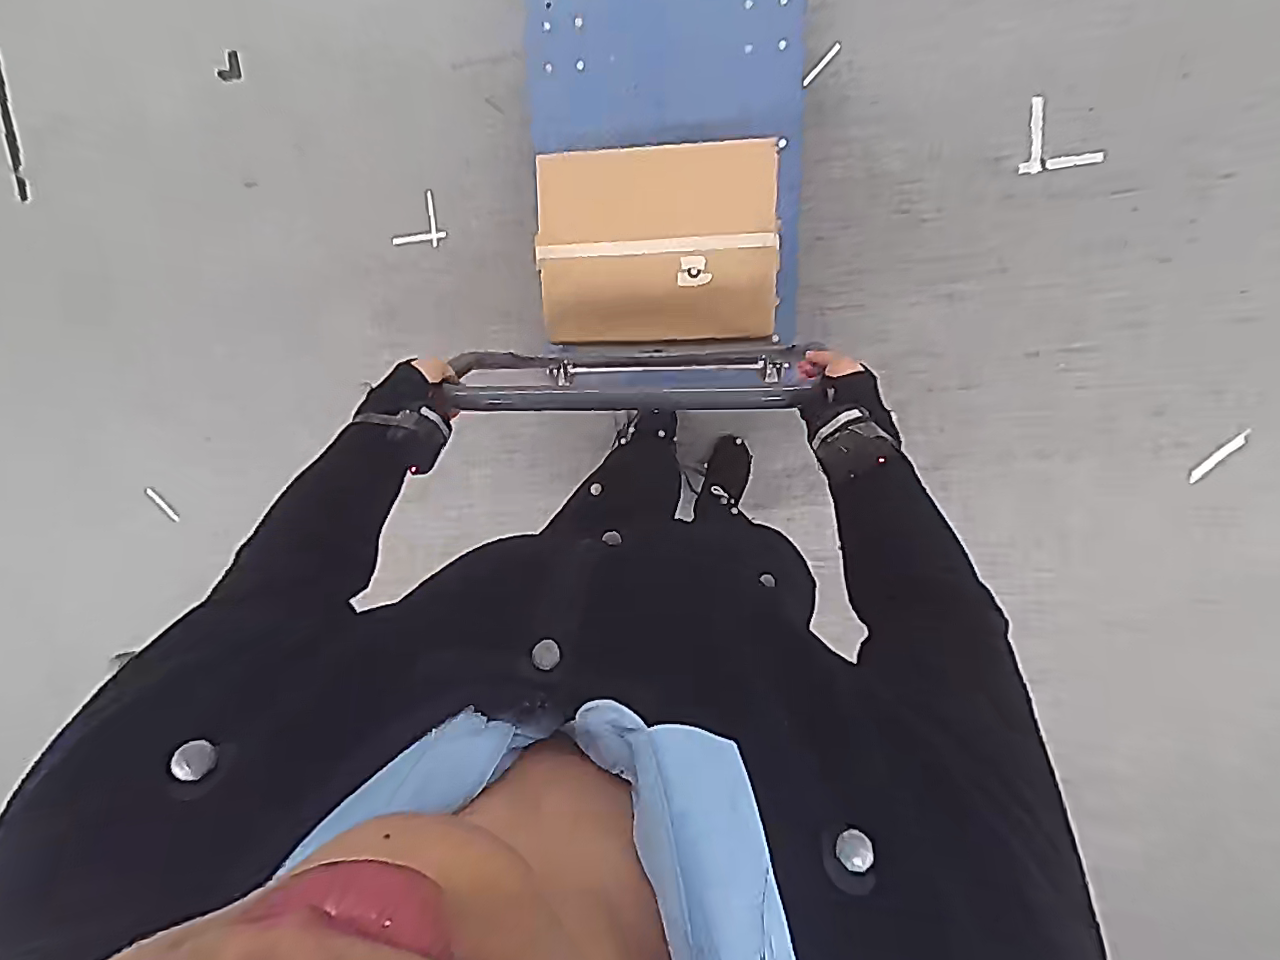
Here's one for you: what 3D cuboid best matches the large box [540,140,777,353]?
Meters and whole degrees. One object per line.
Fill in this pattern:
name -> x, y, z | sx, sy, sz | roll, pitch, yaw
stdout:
large box -> 0.045, -0.426, 1.072 | 0.408, 0.320, 0.320 | 0, 101, 7
